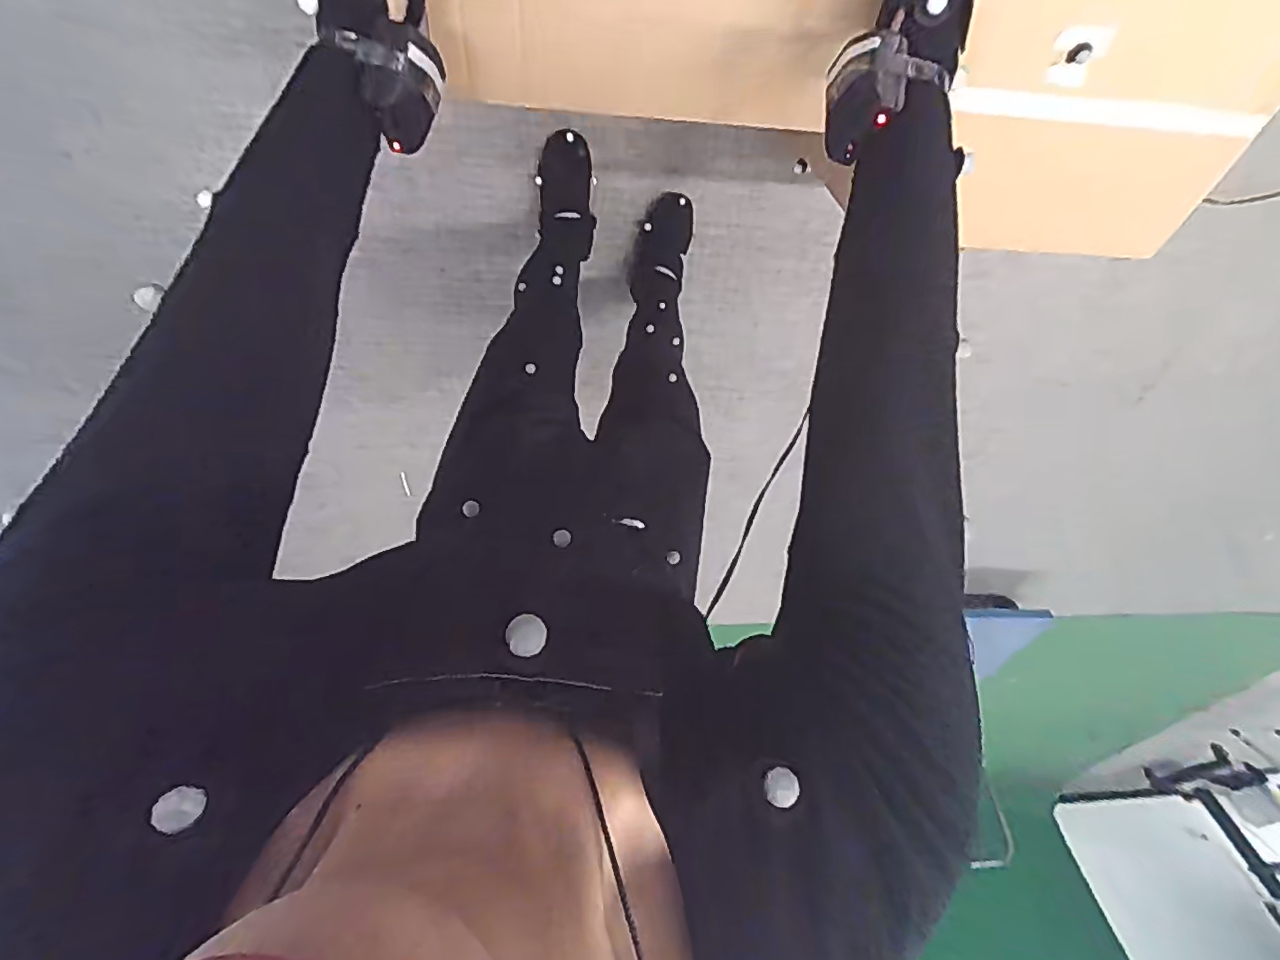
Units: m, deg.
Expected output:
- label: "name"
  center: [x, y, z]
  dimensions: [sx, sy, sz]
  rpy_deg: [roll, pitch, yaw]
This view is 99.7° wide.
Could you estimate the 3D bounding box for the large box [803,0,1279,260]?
- label: "large box"
  center: [0.474, -0.504, 0.674]
  dimensions: [0.408, 0.320, 0.320]
  rpy_deg: [1, 138, -6]
